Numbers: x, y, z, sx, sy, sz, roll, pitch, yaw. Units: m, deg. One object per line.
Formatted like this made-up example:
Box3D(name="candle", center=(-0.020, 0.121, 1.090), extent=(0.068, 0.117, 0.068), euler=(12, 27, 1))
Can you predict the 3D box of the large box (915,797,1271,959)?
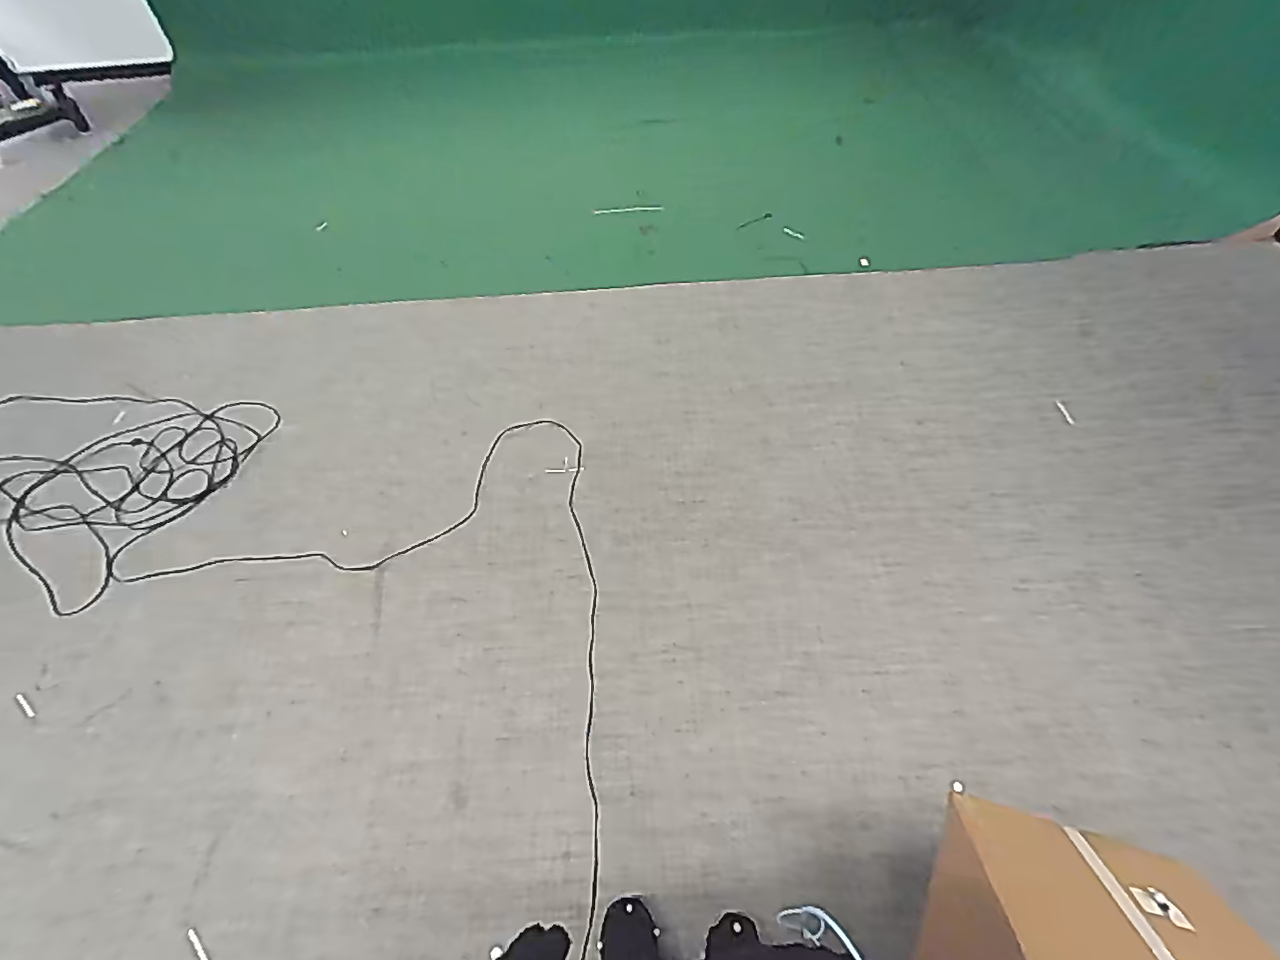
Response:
Box3D(name="large box", center=(0.547, 0.674, 0.627), extent=(0.320, 0.408, 0.320), euler=(12, 94, 16))
